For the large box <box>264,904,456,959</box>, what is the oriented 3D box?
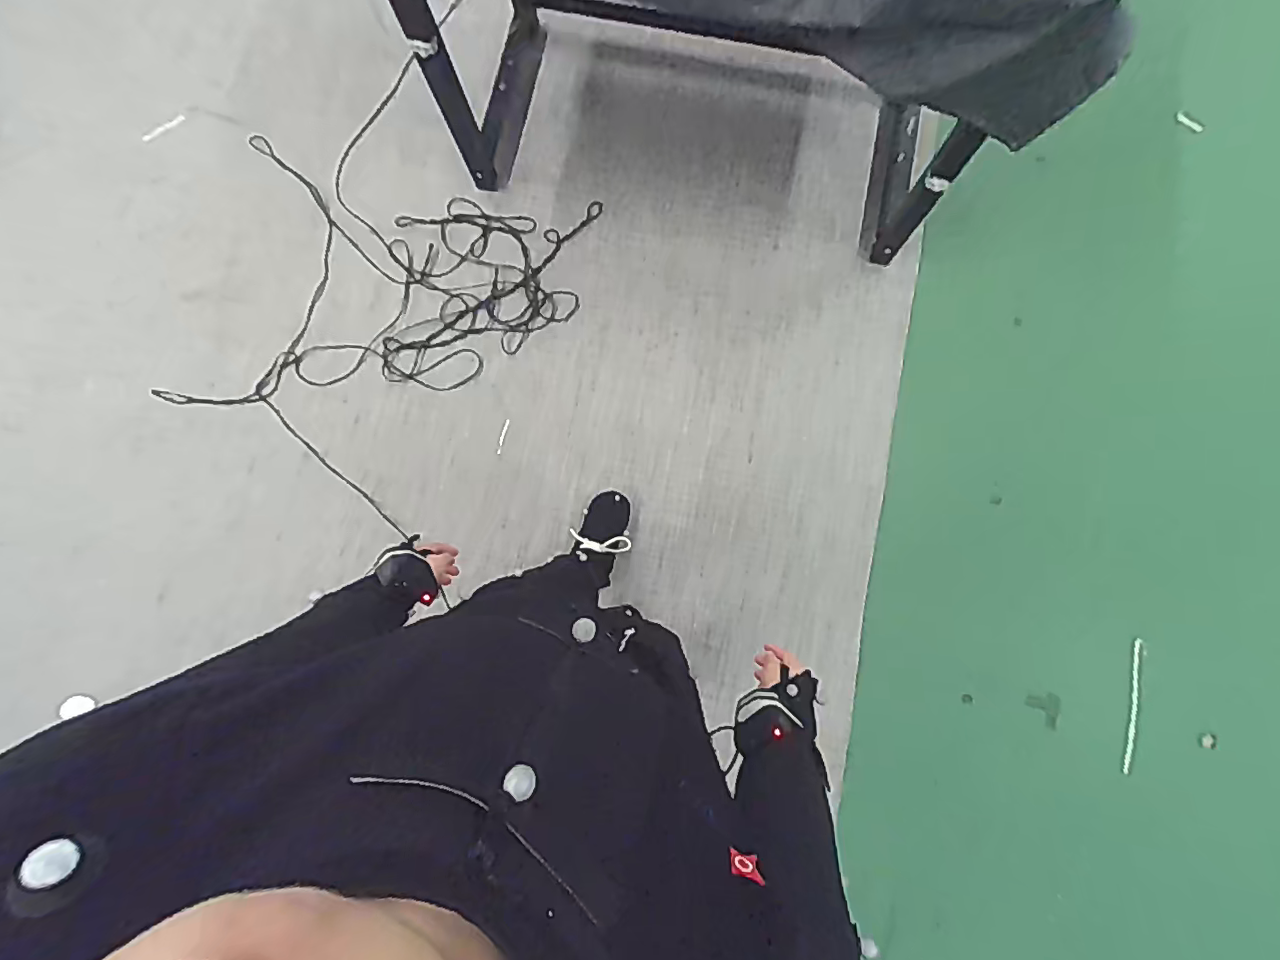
[{"bbox_3d":[-0.611,1.163,1.078,0.408,0.320,0.320,18,81,6],"label":"large box"}]
